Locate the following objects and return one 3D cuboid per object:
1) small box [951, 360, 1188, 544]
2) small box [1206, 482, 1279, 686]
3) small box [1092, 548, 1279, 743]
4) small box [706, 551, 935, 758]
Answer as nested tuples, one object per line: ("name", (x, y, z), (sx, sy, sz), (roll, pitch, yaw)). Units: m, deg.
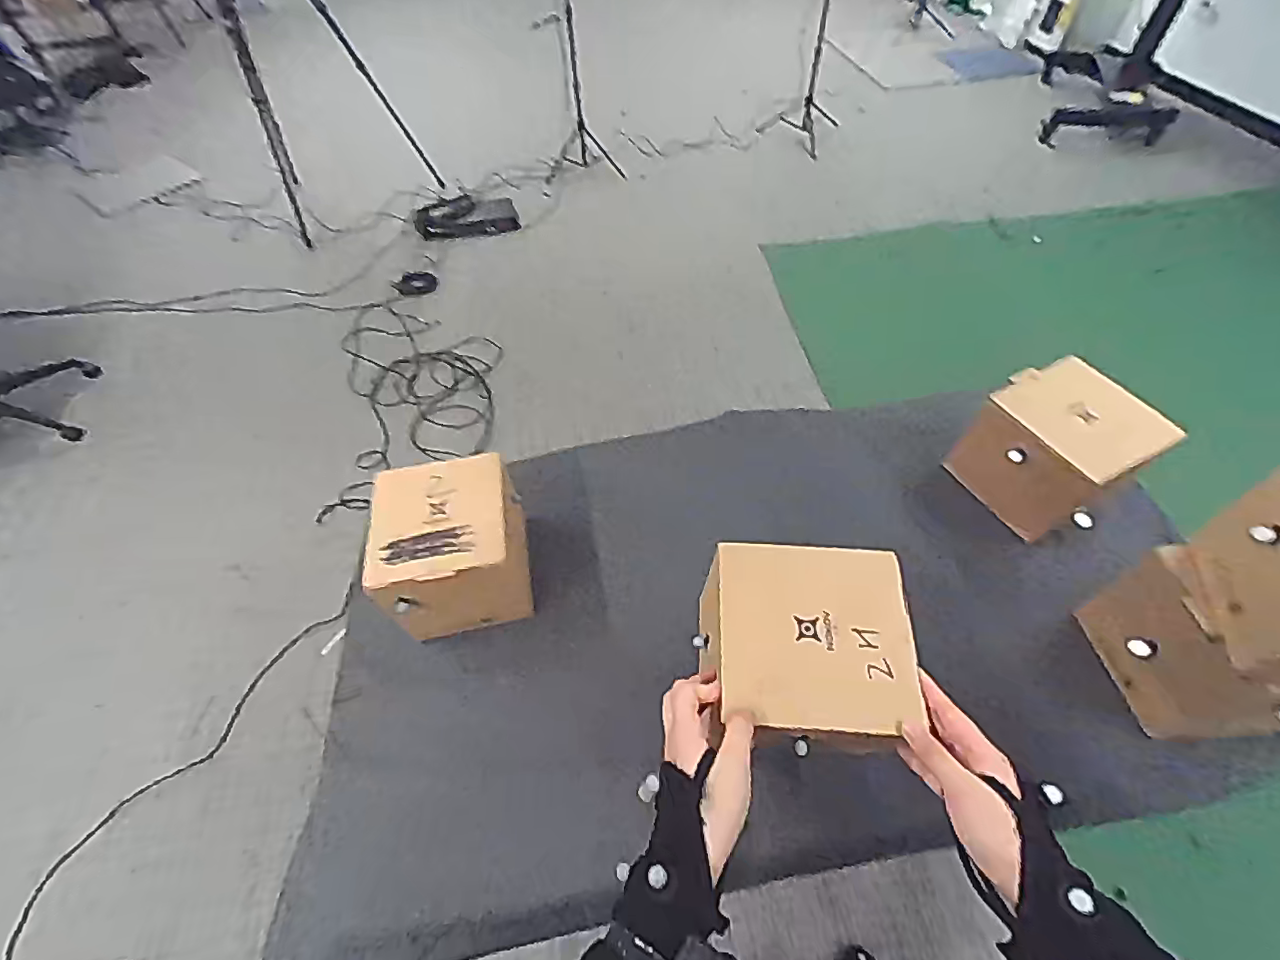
("small box", (0.602, -0.037, 0.790), (0.168, 0.176, 0.179), (-24, 58, -11))
("small box", (0.671, 0.099, 0.480), (0.179, 0.176, 0.168), (13, 53, 13))
("small box", (0.673, 0.189, 0.616), (0.179, 0.176, 0.168), (-4, 51, 1))
("small box", (0.161, 0.183, 0.551), (0.179, 0.176, 0.168), (3, 60, 2))
